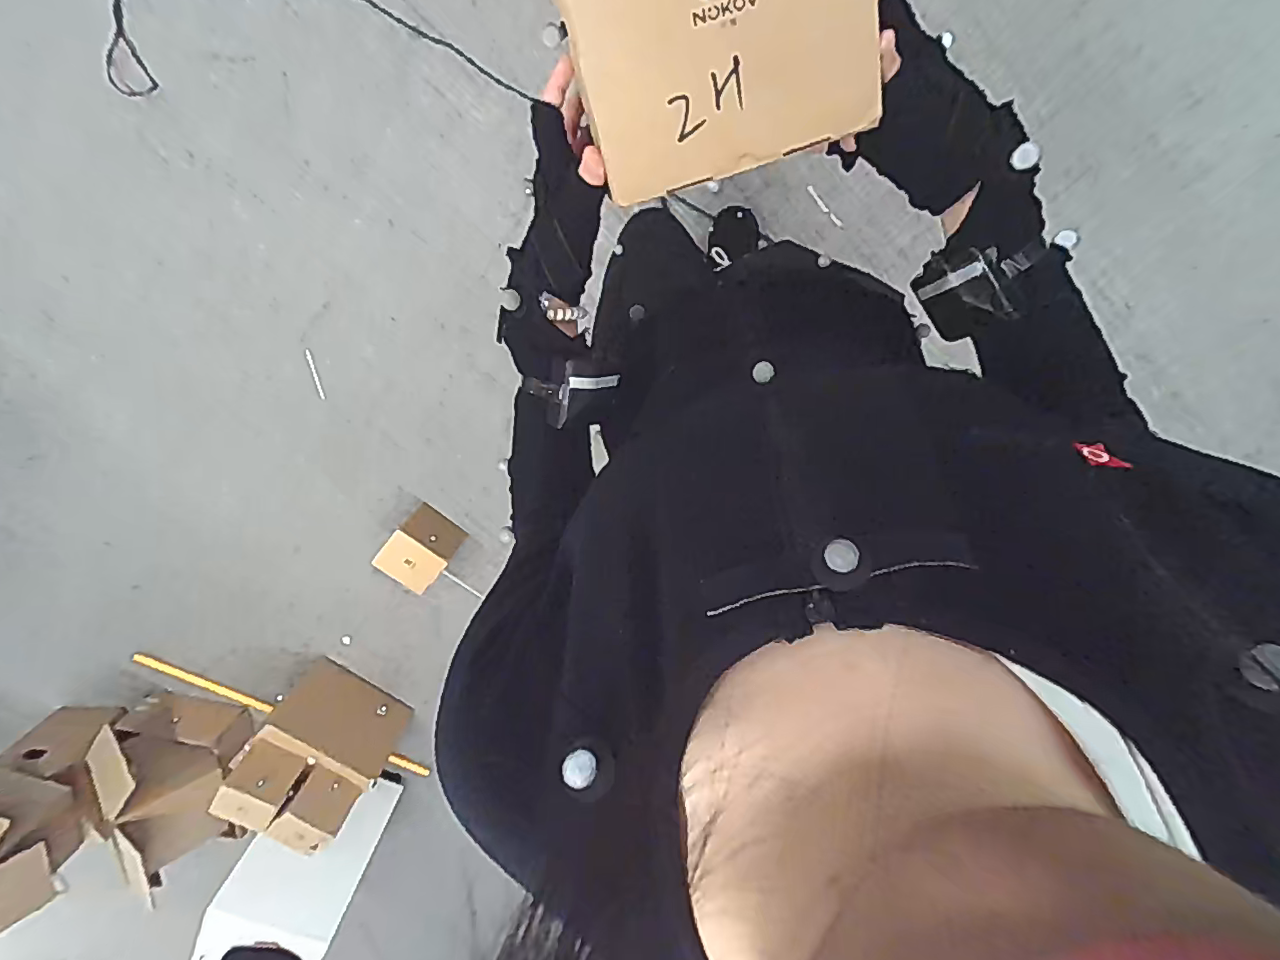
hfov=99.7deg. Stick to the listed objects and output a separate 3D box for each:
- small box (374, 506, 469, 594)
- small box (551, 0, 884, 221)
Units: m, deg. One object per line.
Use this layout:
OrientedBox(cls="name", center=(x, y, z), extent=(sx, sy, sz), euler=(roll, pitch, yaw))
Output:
OrientedBox(cls="small box", center=(-0.658, 0.203, 1.646), extent=(0.179, 0.176, 0.168), euler=(39, 113, -15))
OrientedBox(cls="small box", center=(0.036, -0.287, 0.349), extent=(0.168, 0.176, 0.179), euler=(-16, 120, 4))
